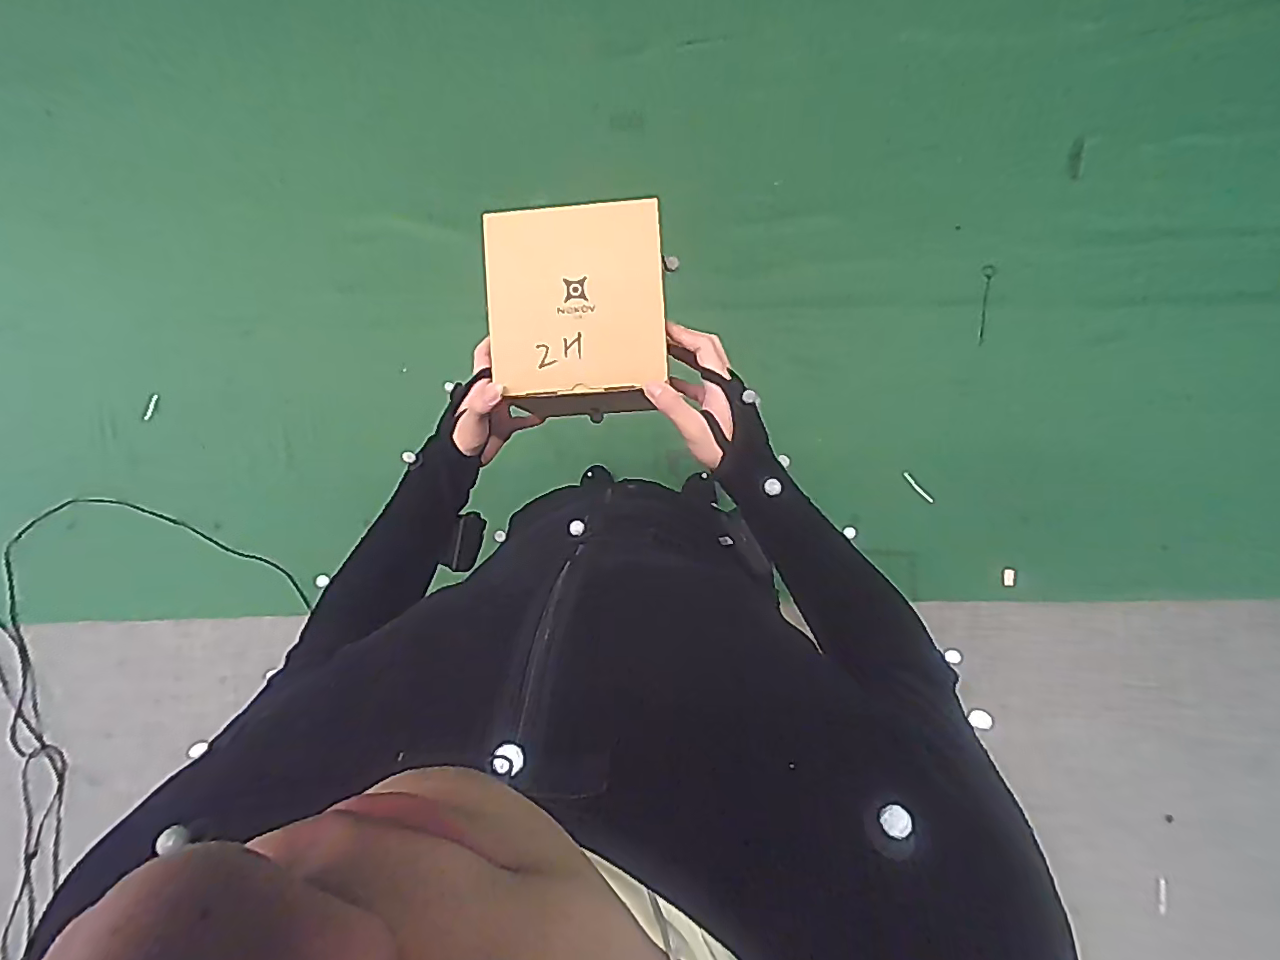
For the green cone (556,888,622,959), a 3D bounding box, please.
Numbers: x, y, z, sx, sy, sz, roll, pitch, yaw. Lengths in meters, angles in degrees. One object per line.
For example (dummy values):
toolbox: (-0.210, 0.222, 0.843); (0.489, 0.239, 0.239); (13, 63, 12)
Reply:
green cone: (-0.168, 1.348, 1.477); (0.202, 0.368, 0.200); (-1, 91, 4)
